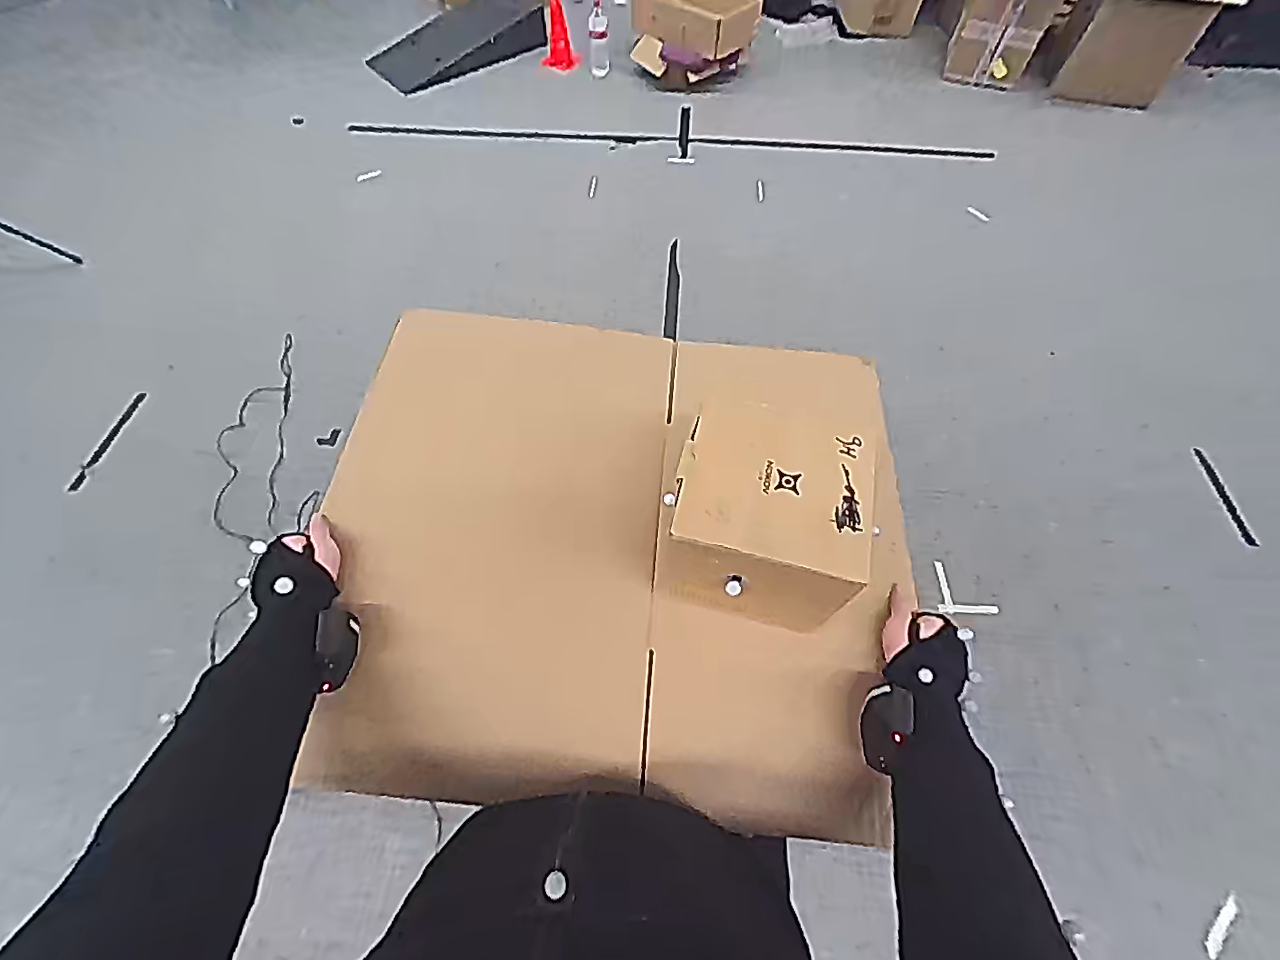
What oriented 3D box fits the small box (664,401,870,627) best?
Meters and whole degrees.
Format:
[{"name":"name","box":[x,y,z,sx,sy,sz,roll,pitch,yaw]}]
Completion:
[{"name":"small box","box":[0.127,0.044,0.580,0.179,0.176,0.168,12,61,7]}]
